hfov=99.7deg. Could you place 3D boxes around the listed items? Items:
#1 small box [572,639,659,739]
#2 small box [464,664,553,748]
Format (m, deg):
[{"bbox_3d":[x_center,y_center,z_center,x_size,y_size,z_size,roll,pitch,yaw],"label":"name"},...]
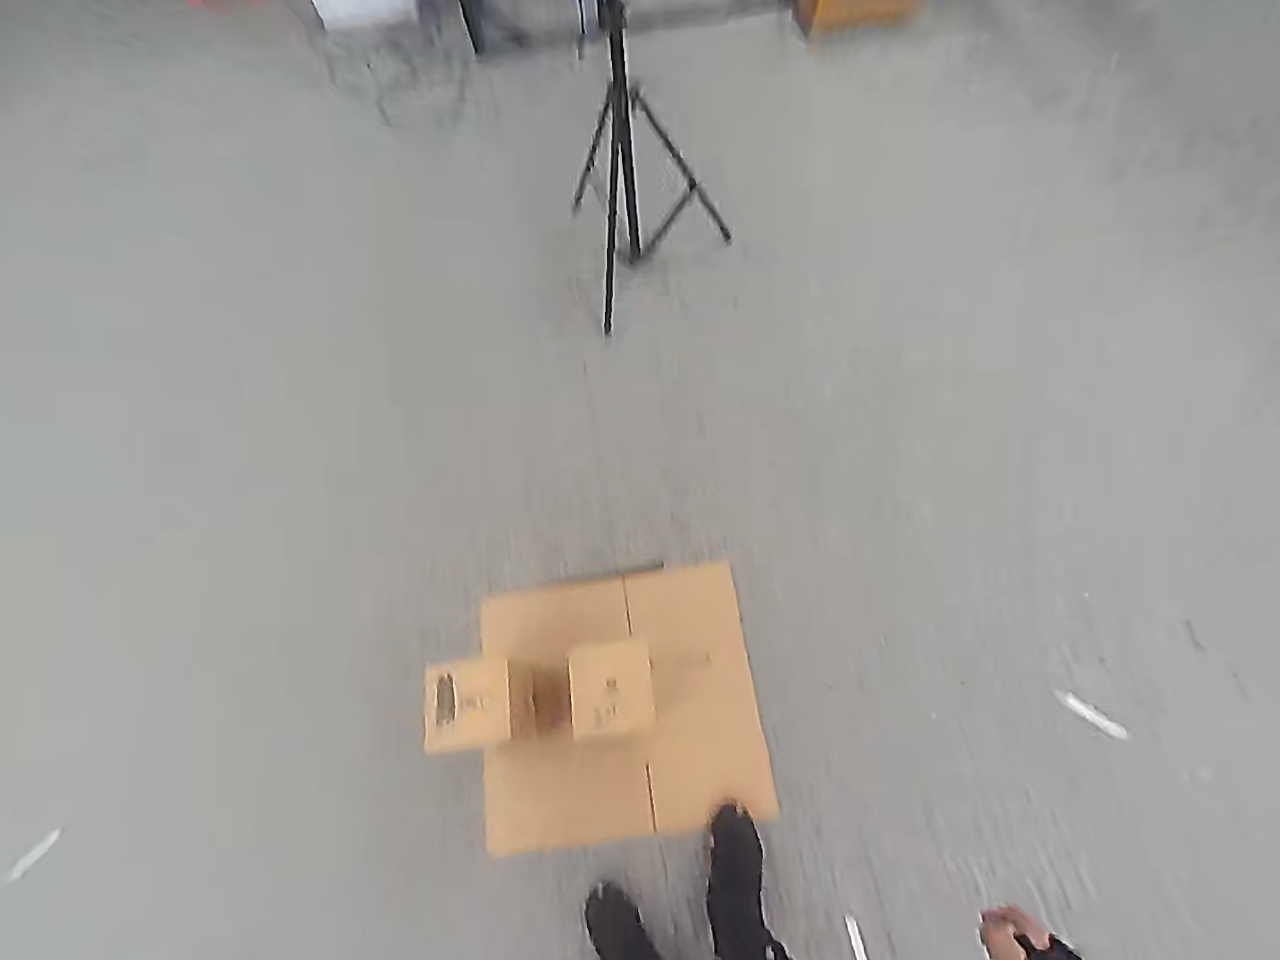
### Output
[{"bbox_3d":[-0.049,0.448,1.157,0.168,0.176,0.179,-7,68,1],"label":"small box"},{"bbox_3d":[-0.313,0.545,1.312,0.179,0.176,0.168,-9,67,2],"label":"small box"}]
